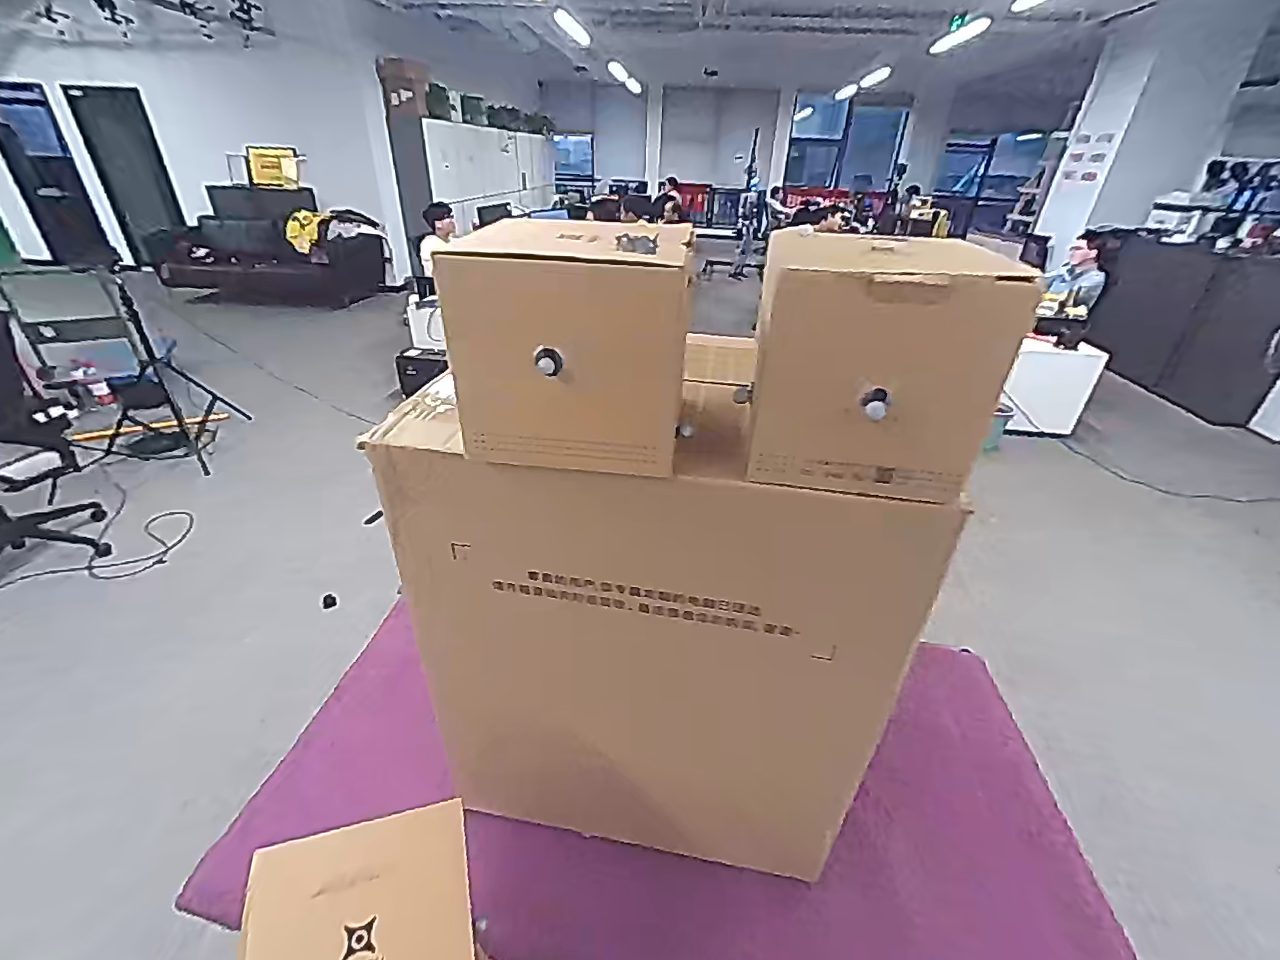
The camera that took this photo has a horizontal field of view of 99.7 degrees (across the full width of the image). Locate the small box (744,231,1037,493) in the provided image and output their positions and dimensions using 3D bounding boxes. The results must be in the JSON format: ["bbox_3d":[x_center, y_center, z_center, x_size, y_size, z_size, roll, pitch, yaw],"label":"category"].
[{"bbox_3d":[0.184,-0.106,0.460,0.168,0.176,0.179,7,33,7],"label":"small box"}]

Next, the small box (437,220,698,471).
[{"bbox_3d":[-0.046,-0.121,0.472,0.179,0.176,0.168,4,32,6],"label":"small box"}]
